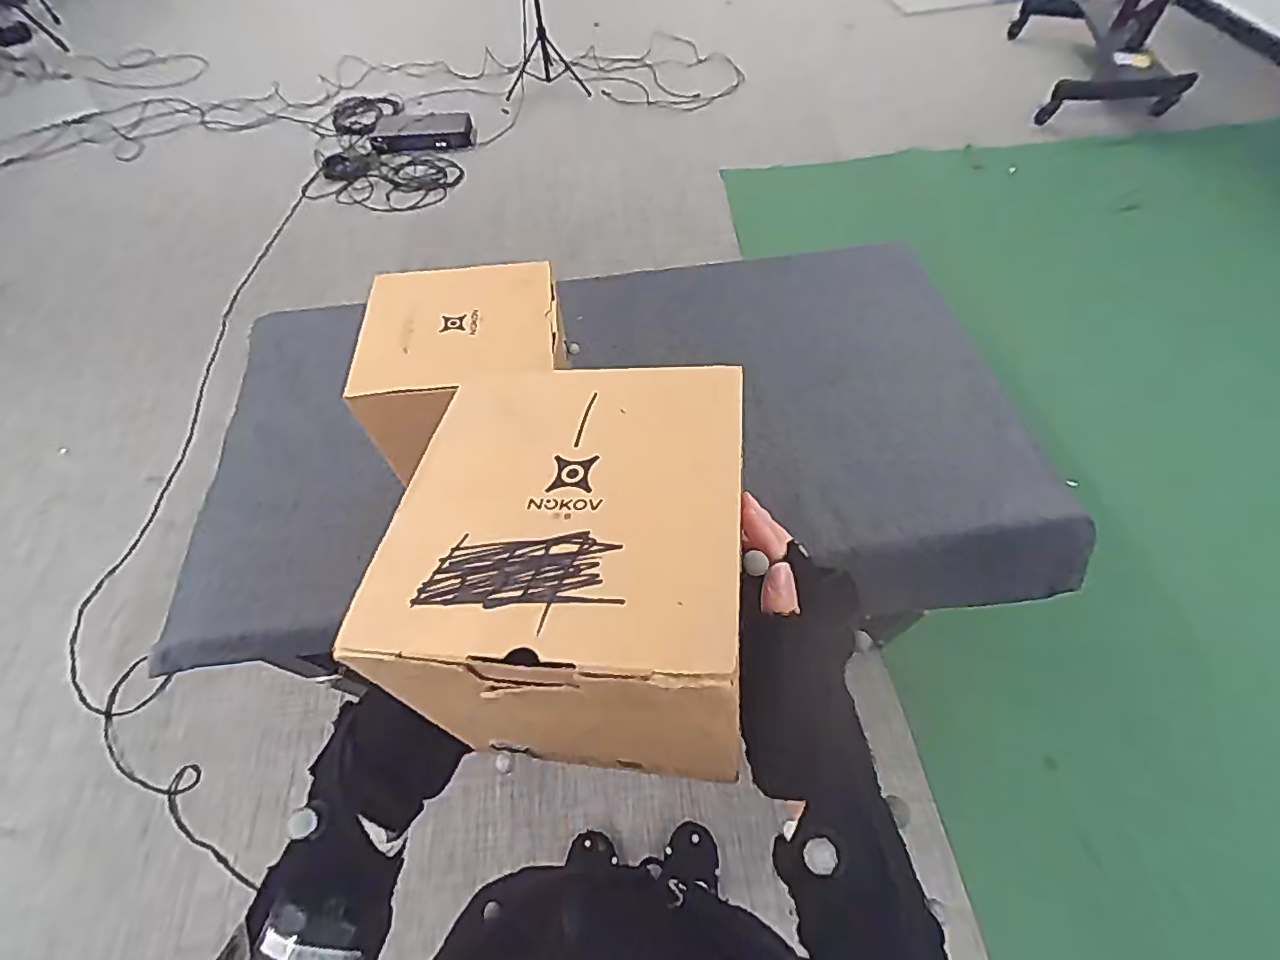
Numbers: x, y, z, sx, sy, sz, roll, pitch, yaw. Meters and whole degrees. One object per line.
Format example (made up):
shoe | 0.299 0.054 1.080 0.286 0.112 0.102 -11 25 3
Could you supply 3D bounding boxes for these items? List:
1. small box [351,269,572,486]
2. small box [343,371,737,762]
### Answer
small box | -0.162 -0.093 0.566 0.179 0.176 0.168 -6 55 -2
small box | -0.027 0.055 0.330 0.168 0.176 0.179 2 51 11
